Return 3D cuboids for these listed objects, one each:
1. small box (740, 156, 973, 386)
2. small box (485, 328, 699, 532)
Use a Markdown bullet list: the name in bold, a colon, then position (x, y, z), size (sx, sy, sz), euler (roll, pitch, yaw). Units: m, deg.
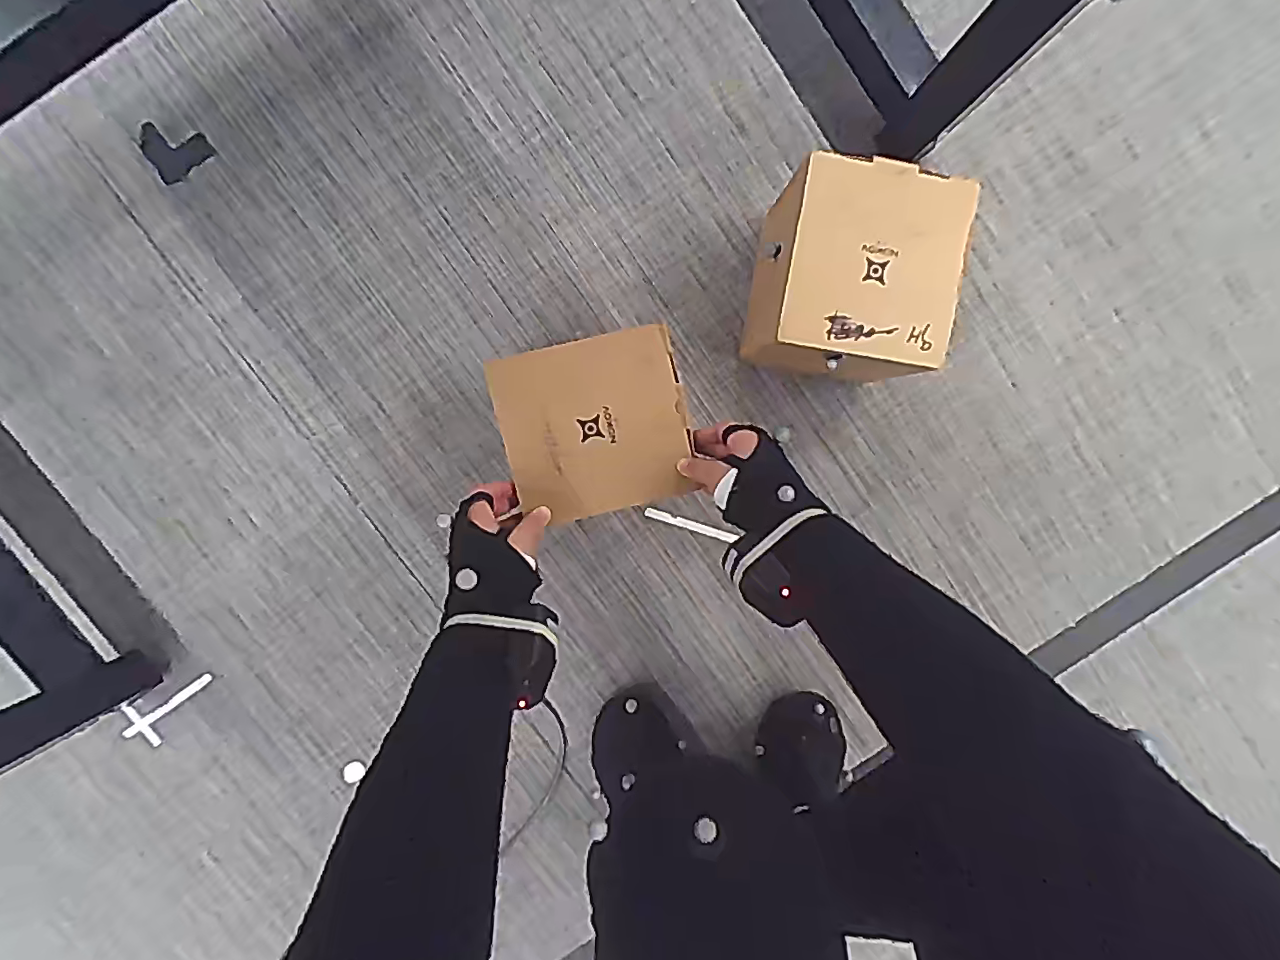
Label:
- **small box**: position (0.215, -0.207, 0.585), size (0.168, 0.176, 0.179), euler (8, 94, -3)
- **small box**: position (-0.047, -0.054, 0.591), size (0.179, 0.176, 0.168), euler (-14, 95, 0)
